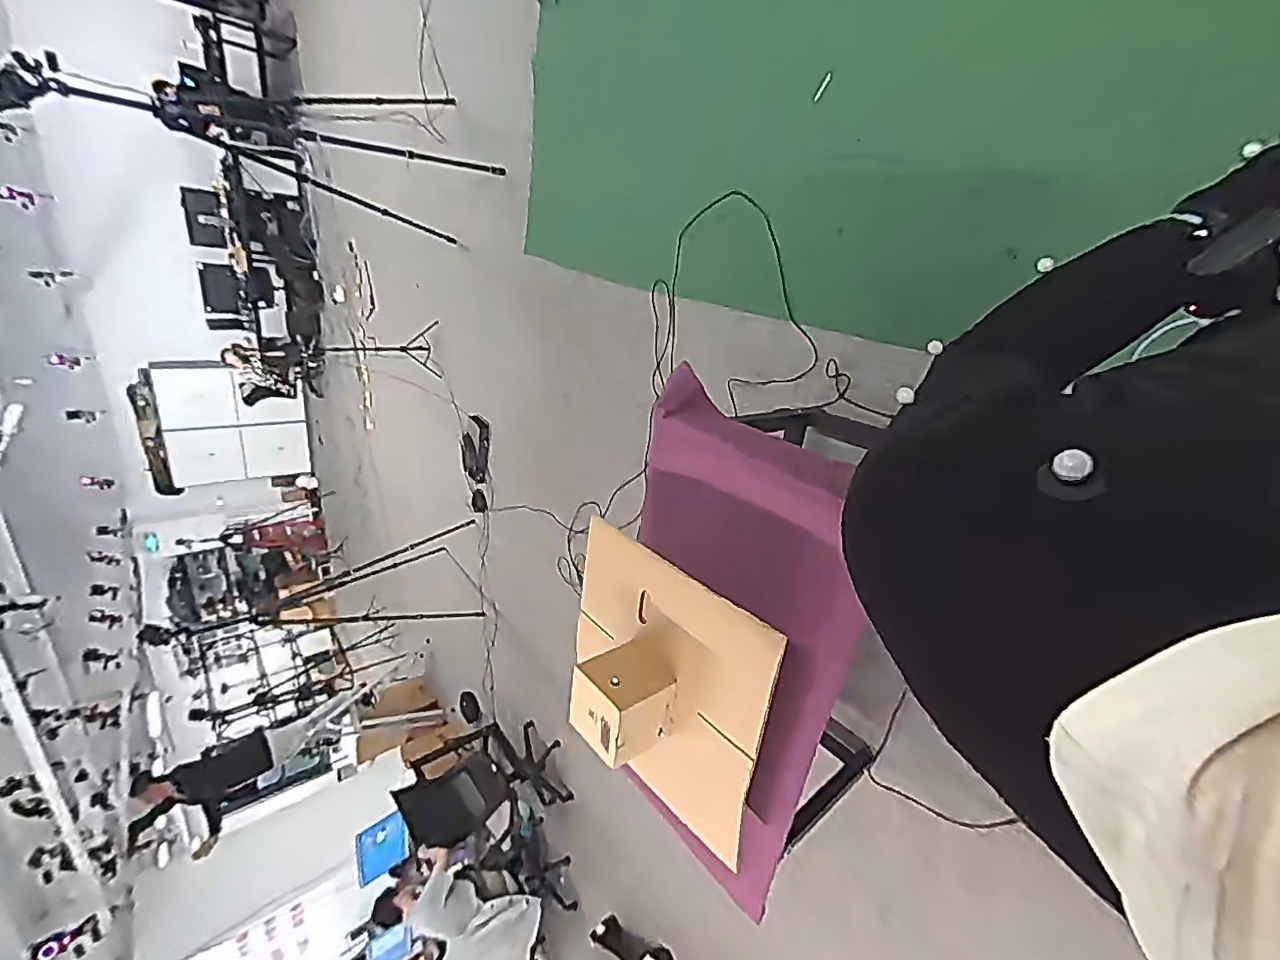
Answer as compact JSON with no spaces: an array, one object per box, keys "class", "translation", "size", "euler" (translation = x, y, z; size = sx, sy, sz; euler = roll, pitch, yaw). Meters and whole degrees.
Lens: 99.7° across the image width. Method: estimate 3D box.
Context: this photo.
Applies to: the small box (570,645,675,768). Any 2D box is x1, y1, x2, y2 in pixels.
[{"class":"small box","translation":[-0.041,0.513,1.256],"size":[0.179,0.176,0.168],"euler":[27,117,44]}]
